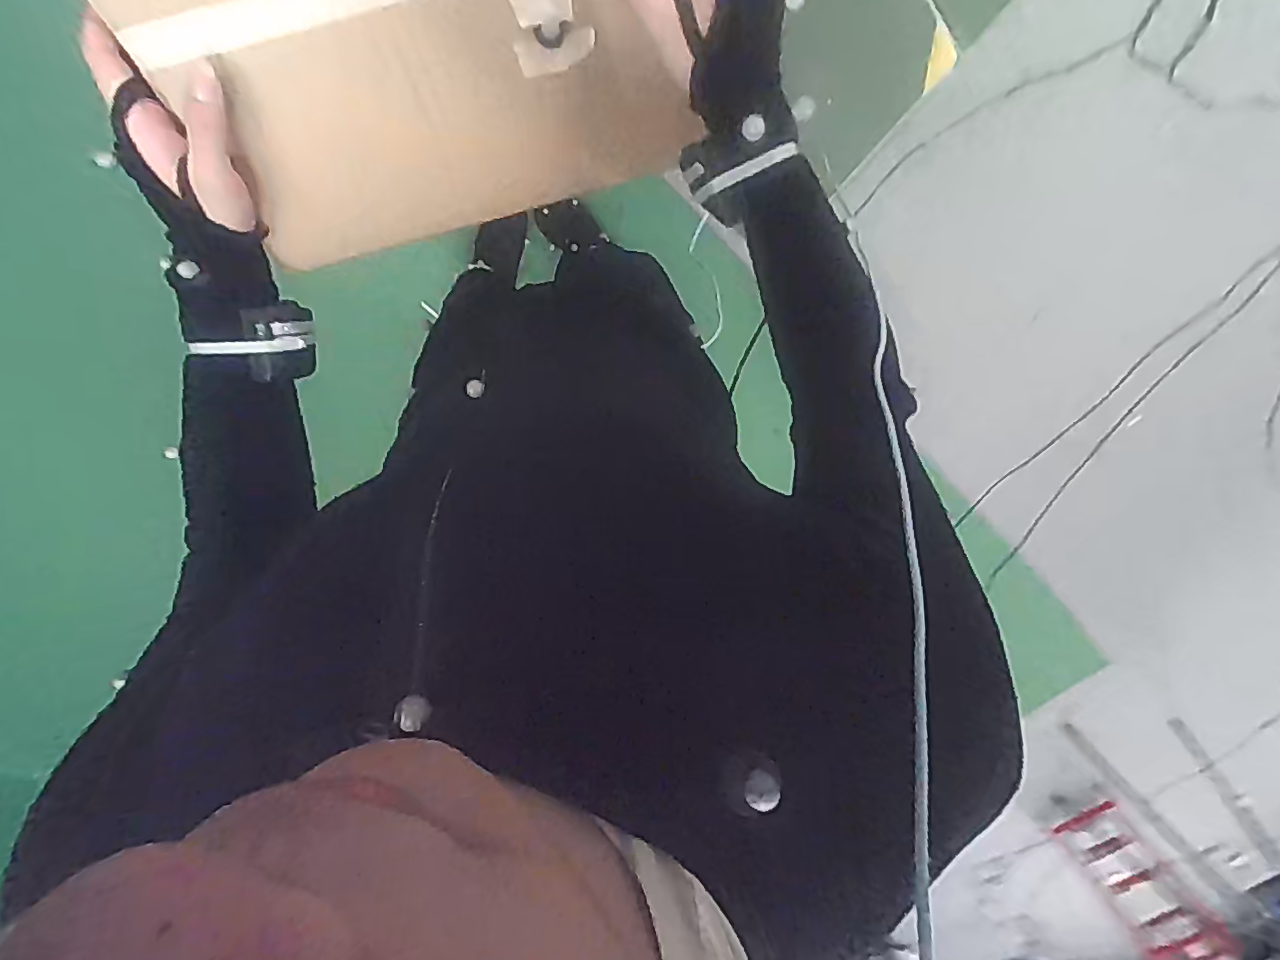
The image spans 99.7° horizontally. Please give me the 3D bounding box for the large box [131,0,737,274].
[{"bbox_3d":[-0.162,-0.434,0.480,0.408,0.320,0.320,-15,134,-3],"label":"large box"}]
